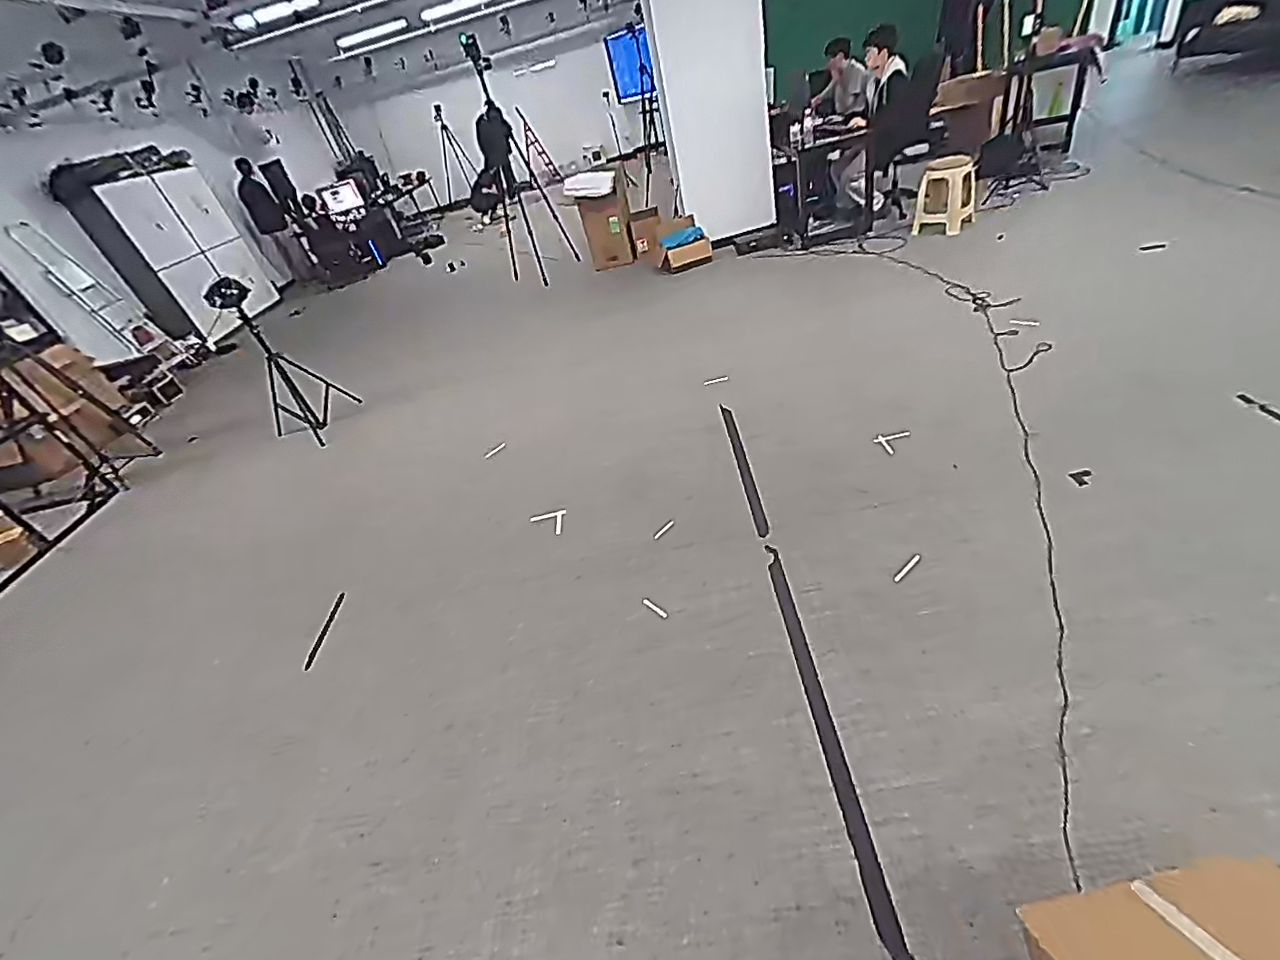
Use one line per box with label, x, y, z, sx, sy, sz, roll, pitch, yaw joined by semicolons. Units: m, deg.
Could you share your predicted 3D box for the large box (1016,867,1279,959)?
large box;0.656;0.657;0.489;0.320;0.320;0.408;-18;-8;5
